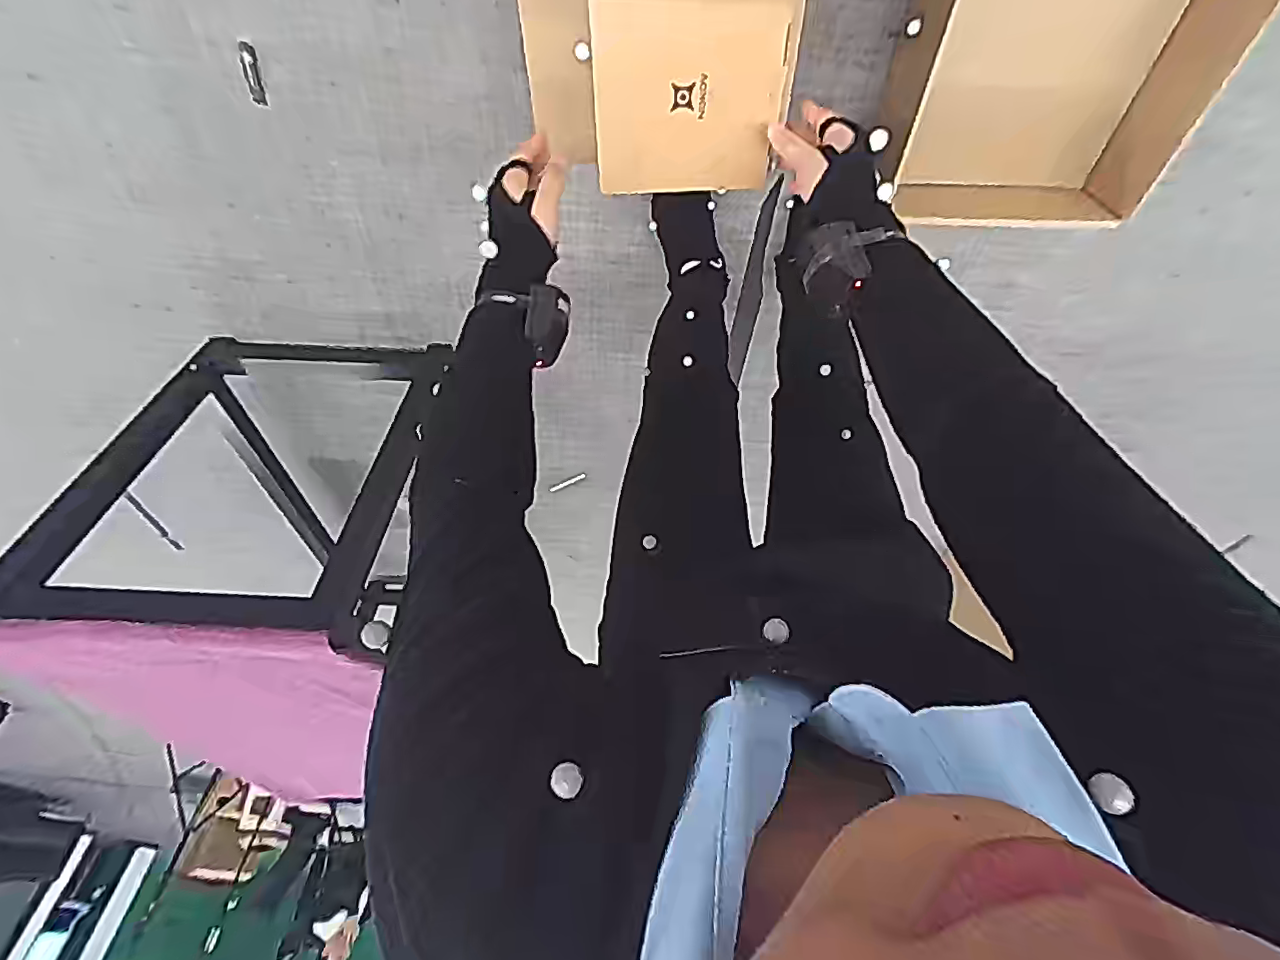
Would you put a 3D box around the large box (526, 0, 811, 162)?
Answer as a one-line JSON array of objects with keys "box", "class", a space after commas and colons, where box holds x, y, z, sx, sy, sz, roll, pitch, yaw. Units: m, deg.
[{"box": [0.030, -0.658, 0.644, 0.320, 0.320, 0.408, 1, 140, 2], "class": "large box"}]
